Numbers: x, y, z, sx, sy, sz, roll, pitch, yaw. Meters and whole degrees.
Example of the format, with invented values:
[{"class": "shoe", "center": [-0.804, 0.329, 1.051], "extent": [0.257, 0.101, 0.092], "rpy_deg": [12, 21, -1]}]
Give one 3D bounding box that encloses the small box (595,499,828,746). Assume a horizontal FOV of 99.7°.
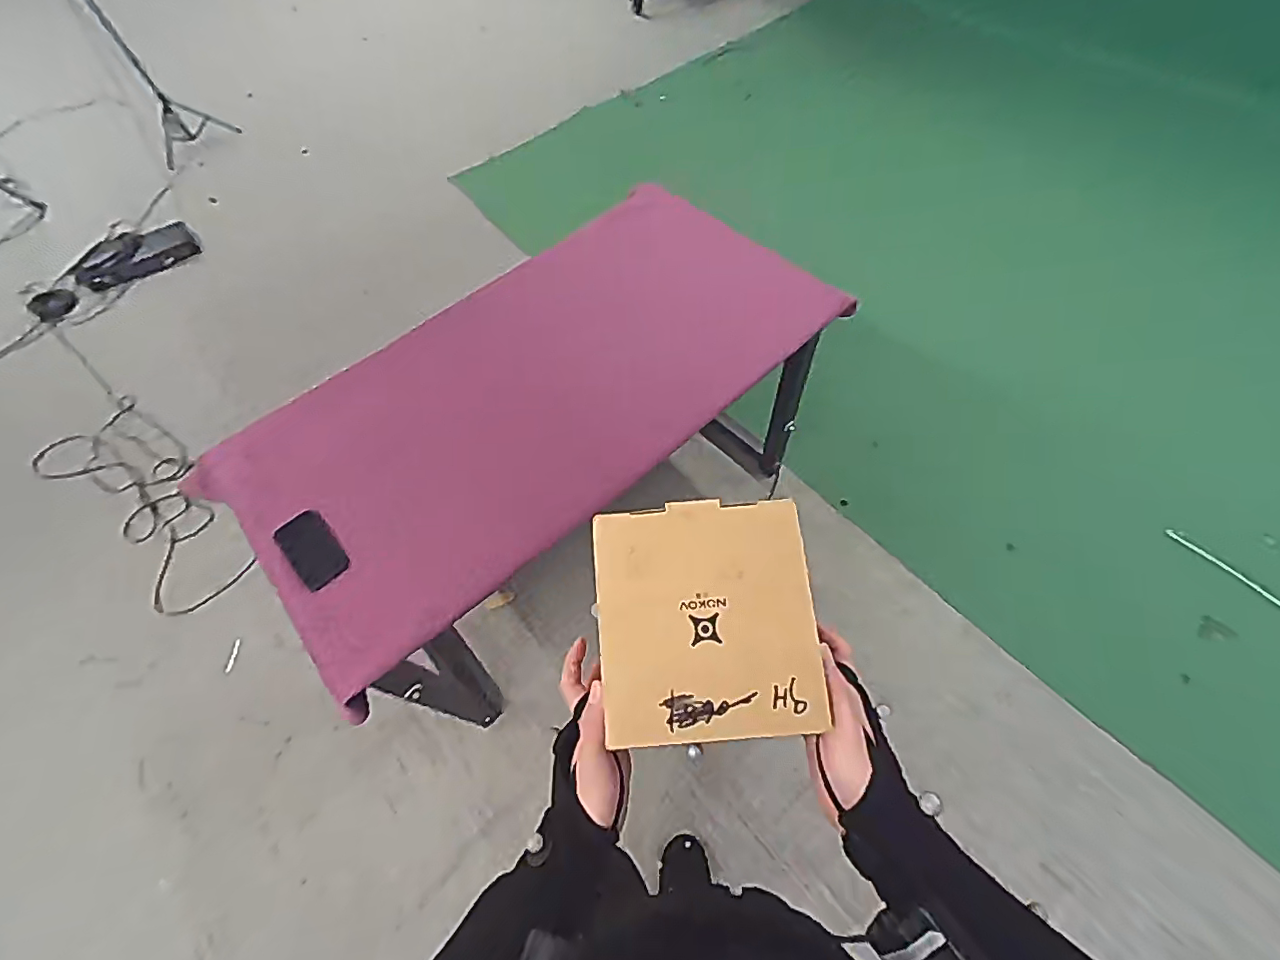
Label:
[{"class": "small box", "center": [0.053, 0.127, 0.489], "extent": [0.168, 0.176, 0.179], "rpy_deg": [-5, 74, 3]}]
